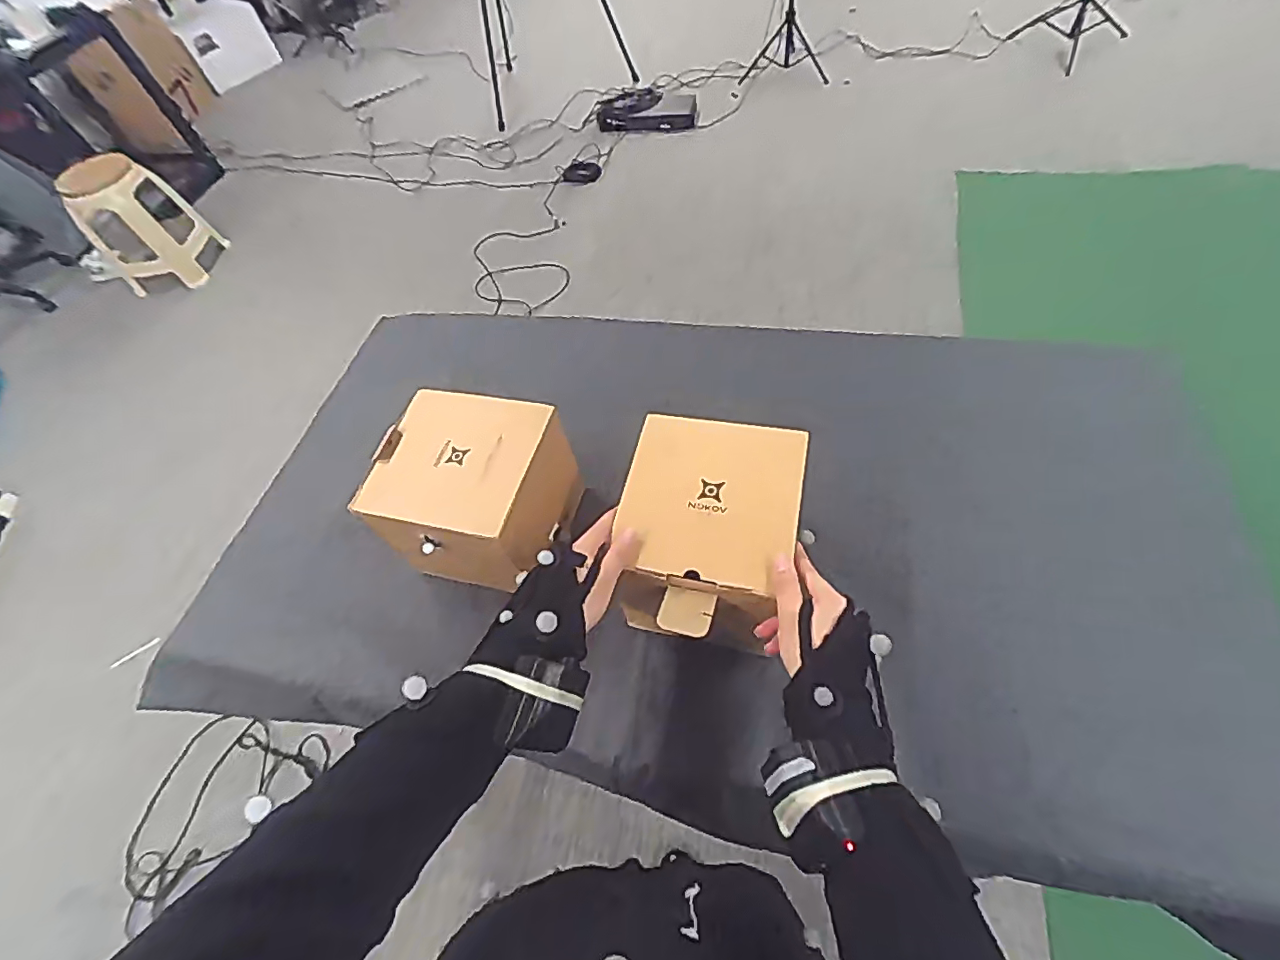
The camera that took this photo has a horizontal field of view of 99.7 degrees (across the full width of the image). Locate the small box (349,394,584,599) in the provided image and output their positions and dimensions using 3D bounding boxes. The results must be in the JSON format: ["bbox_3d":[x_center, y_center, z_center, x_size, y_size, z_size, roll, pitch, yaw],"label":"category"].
[{"bbox_3d":[-0.184,0.023,0.634,0.179,0.176,0.168,10,59,14],"label":"small box"}]

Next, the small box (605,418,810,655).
[{"bbox_3d":[0.075,0.062,0.570,0.168,0.176,0.179,8,59,13],"label":"small box"}]
